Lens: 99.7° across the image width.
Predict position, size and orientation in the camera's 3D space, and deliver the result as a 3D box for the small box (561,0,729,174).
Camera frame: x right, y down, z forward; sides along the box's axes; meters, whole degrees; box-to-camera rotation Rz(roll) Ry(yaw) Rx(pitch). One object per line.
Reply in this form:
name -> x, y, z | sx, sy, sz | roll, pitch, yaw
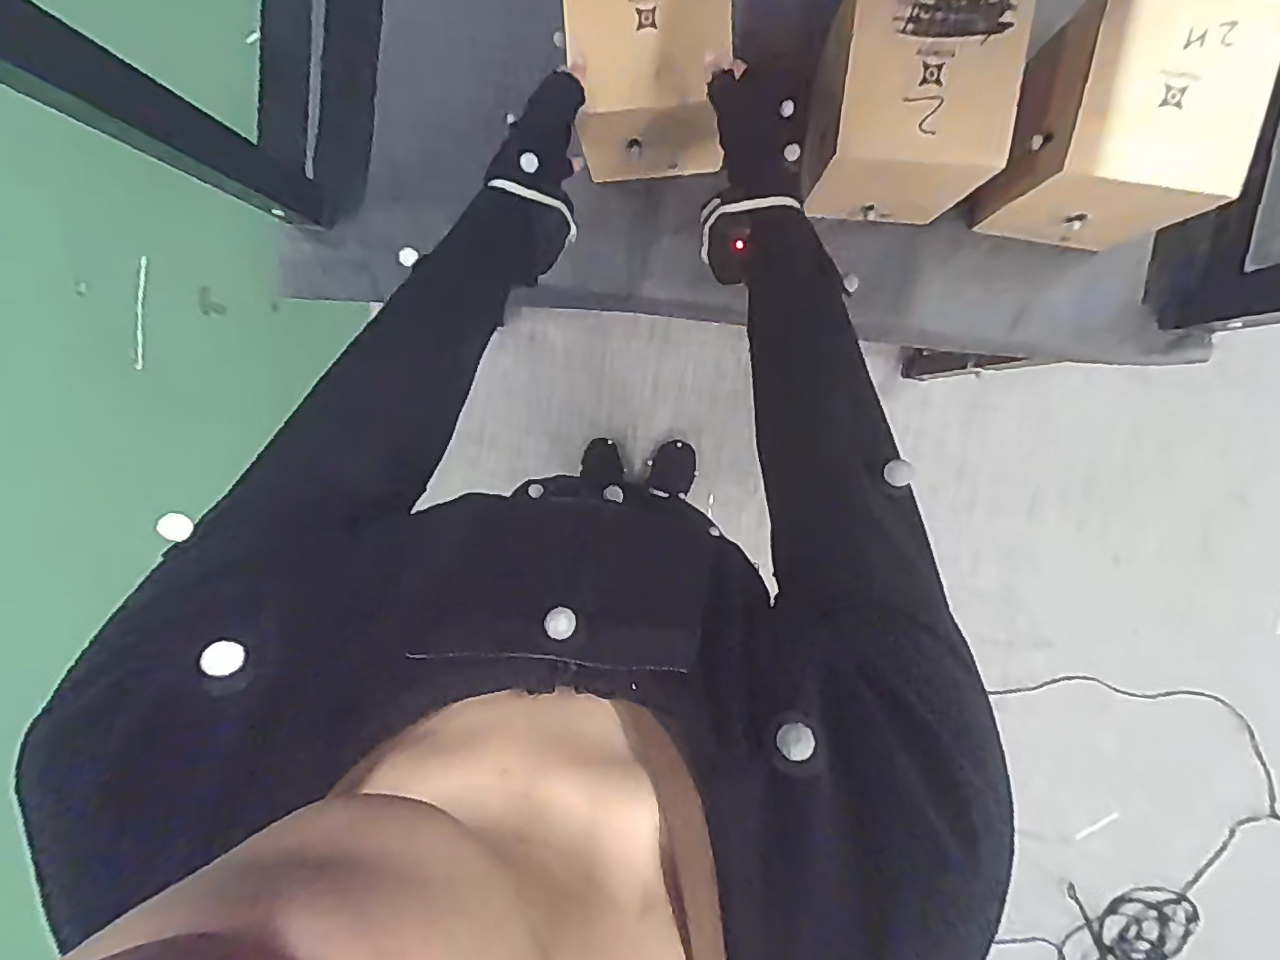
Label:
small box -> 0.009, -0.467, 0.607 | 0.168, 0.176, 0.179 | -3, 96, 4
